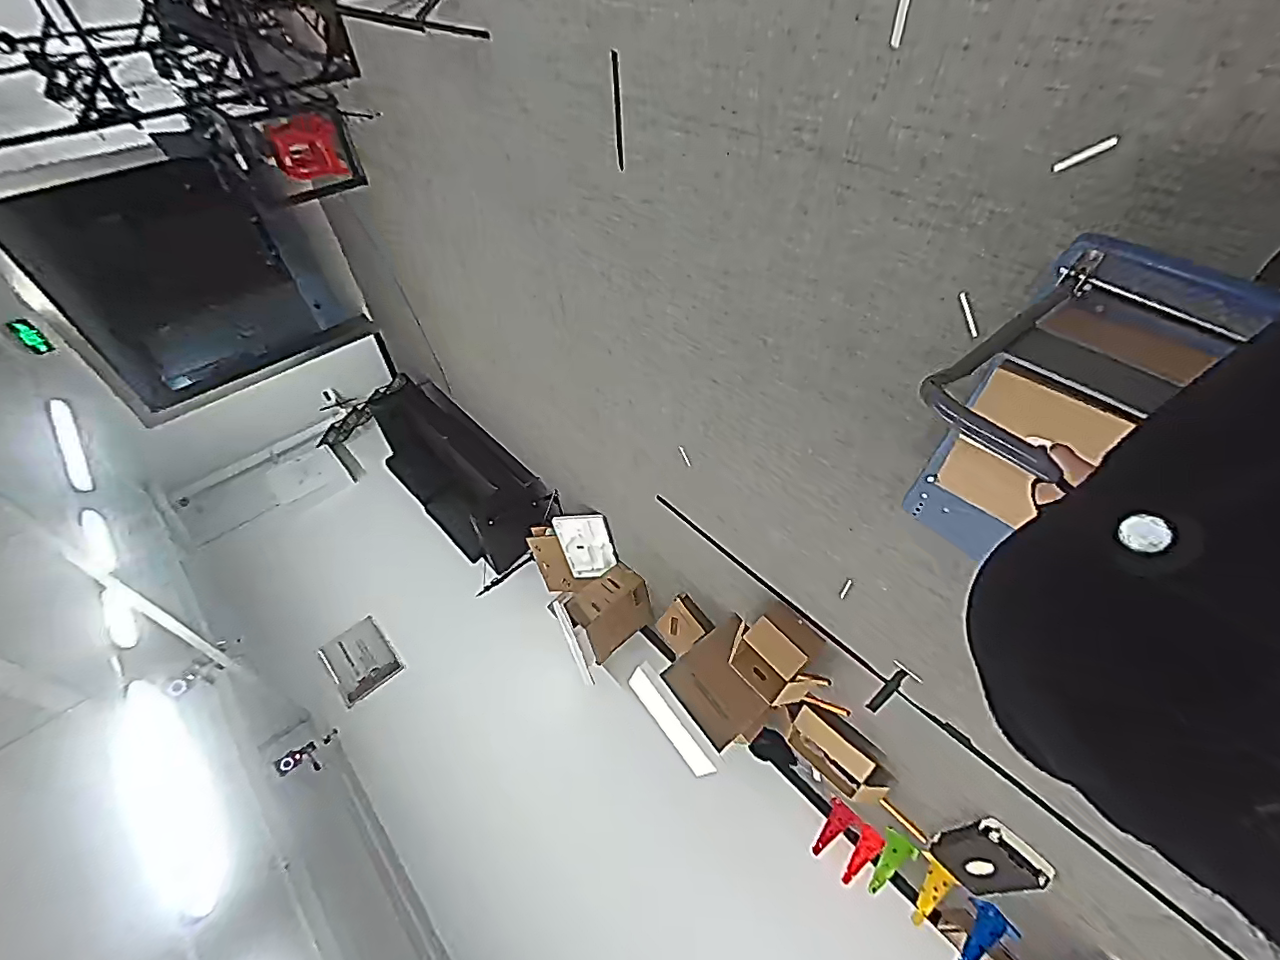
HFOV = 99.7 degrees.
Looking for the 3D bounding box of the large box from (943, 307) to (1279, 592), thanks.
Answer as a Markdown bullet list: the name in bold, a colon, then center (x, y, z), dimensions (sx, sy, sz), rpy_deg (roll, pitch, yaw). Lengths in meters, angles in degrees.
- **large box**: center (0.899, -0.074, 1.032), dimensions (0.408, 0.320, 0.320), rpy_deg (40, 149, 32)
